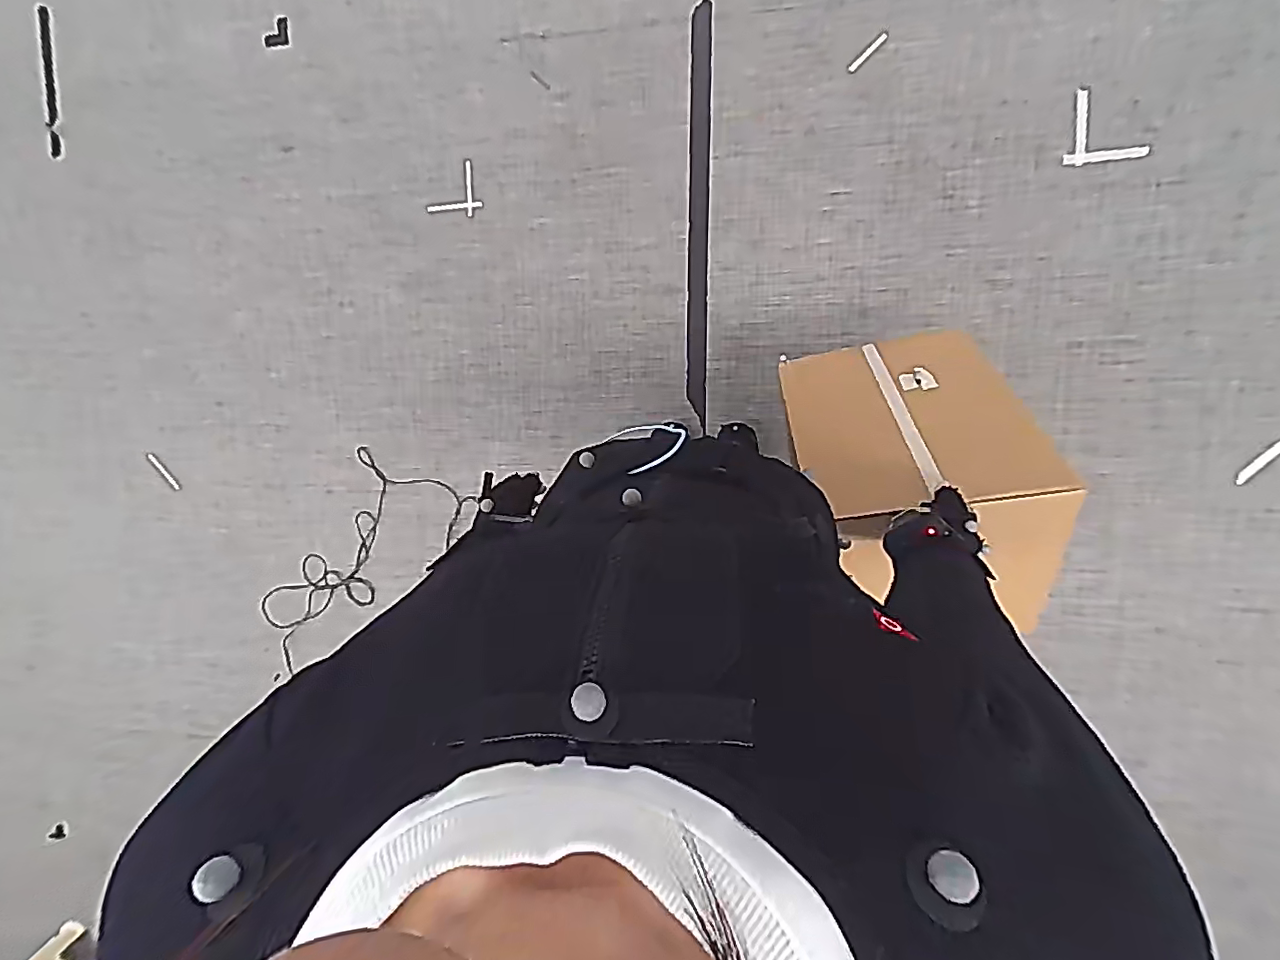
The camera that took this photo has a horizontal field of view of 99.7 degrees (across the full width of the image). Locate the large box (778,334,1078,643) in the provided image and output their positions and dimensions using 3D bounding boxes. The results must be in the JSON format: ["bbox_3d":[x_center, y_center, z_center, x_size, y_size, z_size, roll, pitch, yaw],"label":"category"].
[{"bbox_3d":[0.433,0.010,0.919,0.320,0.408,0.320,-9,130,12],"label":"large box"}]
